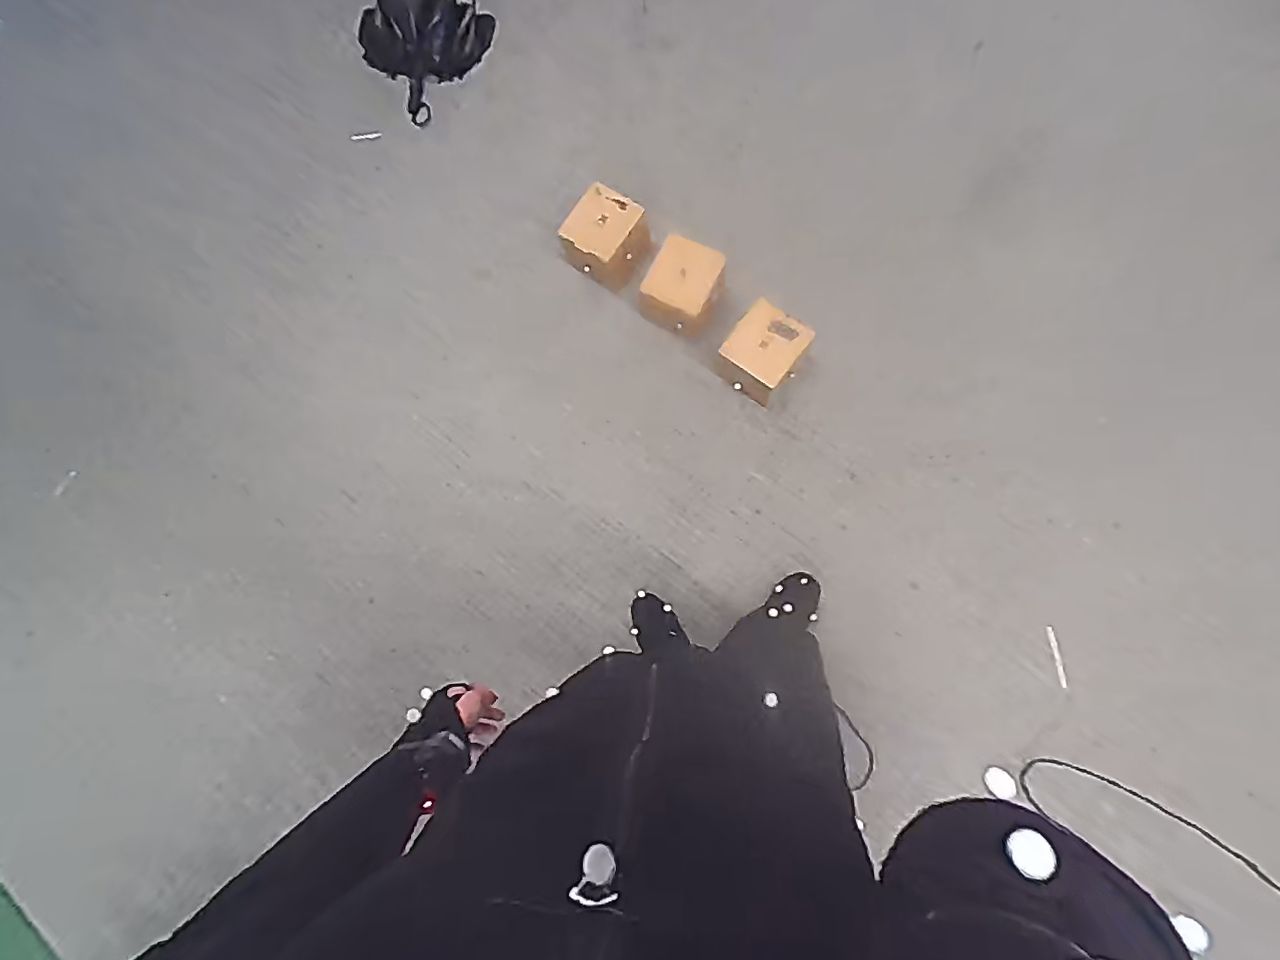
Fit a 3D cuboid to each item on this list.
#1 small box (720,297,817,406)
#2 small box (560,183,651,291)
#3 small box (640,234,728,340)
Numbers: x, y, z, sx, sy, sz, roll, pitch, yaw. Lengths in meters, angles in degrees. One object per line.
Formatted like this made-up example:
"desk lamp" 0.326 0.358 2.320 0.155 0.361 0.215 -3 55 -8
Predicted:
"small box" 0.314 -0.315 1.362 0.168 0.176 0.179 38 88 11
"small box" -0.085 -0.648 1.464 0.168 0.176 0.179 35 87 11
"small box" 0.118 -0.497 1.417 0.168 0.176 0.179 27 84 9
